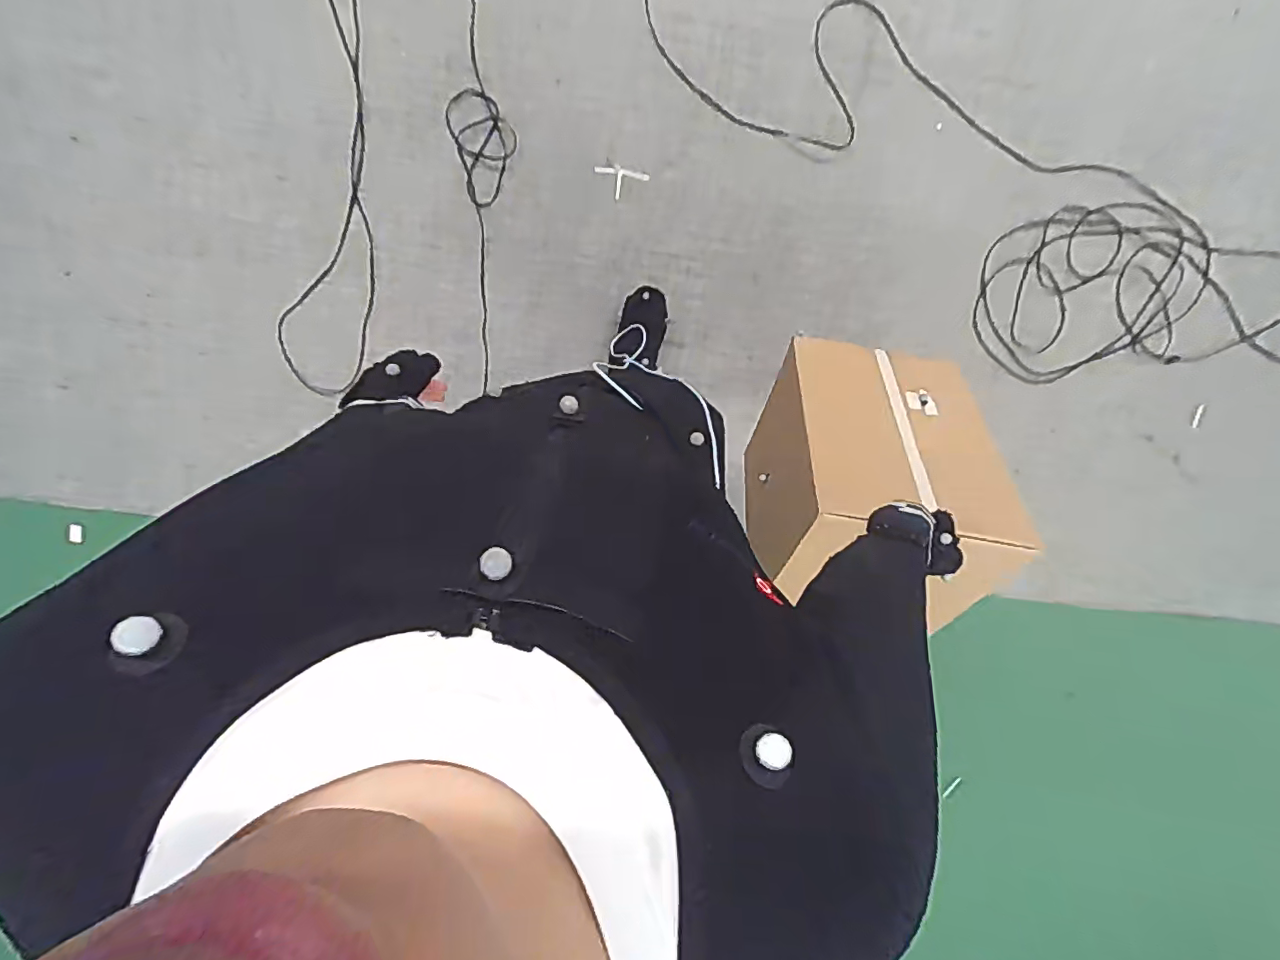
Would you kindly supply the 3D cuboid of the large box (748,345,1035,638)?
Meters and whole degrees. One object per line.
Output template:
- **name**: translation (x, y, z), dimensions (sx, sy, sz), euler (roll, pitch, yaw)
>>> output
- **large box**: translation (0.389, 0.021, 0.970), dimensions (0.320, 0.408, 0.320), euler (10, 138, -3)
